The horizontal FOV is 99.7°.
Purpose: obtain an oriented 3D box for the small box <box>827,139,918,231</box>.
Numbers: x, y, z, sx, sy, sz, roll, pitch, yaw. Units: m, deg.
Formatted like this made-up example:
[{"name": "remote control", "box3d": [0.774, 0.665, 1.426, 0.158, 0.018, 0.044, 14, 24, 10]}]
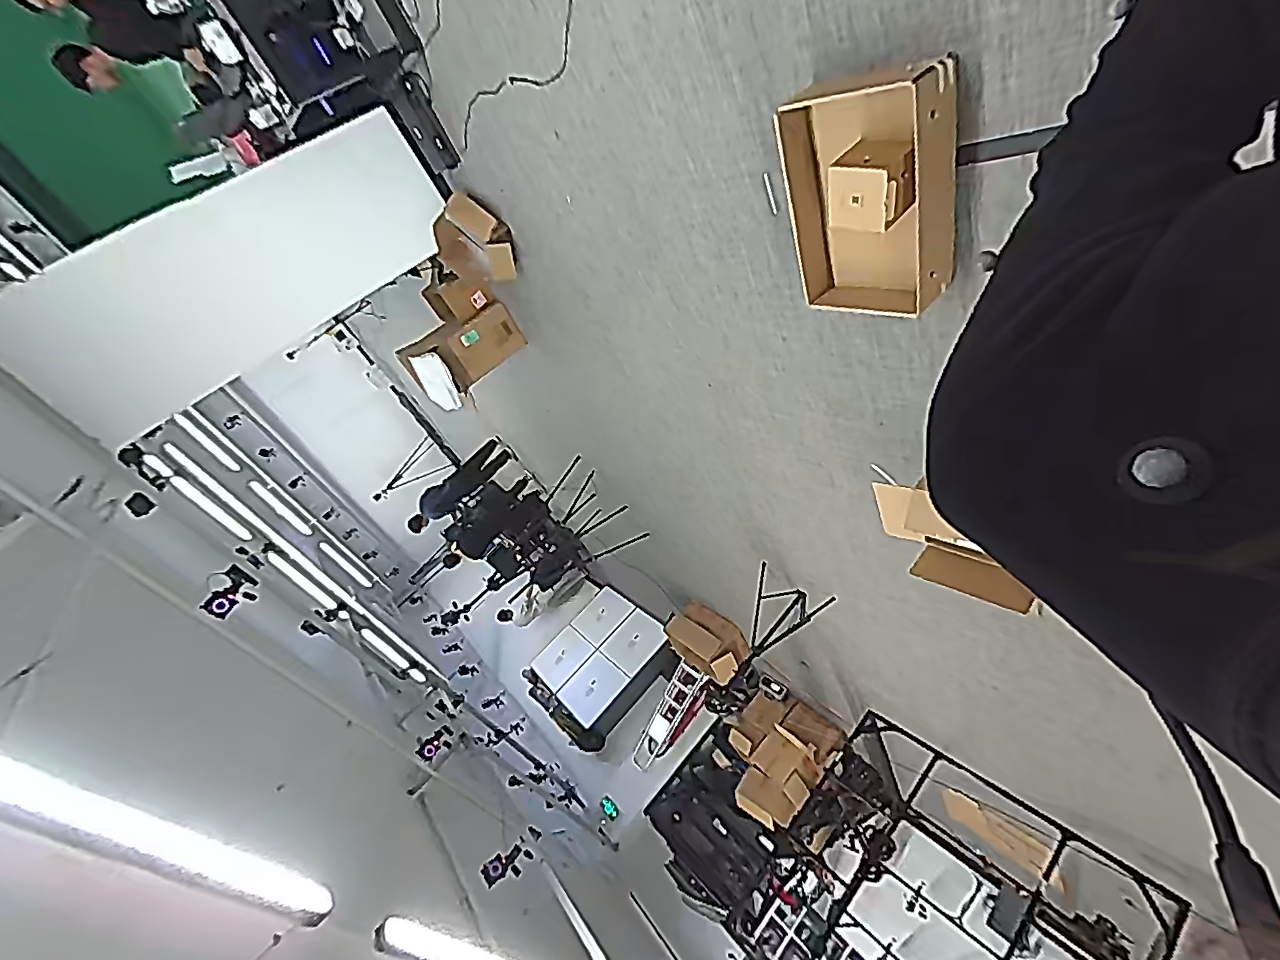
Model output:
[{"name": "small box", "box3d": [0.637, -0.815, 1.487, 0.179, 0.176, 0.168, 30, 156, 37]}]
